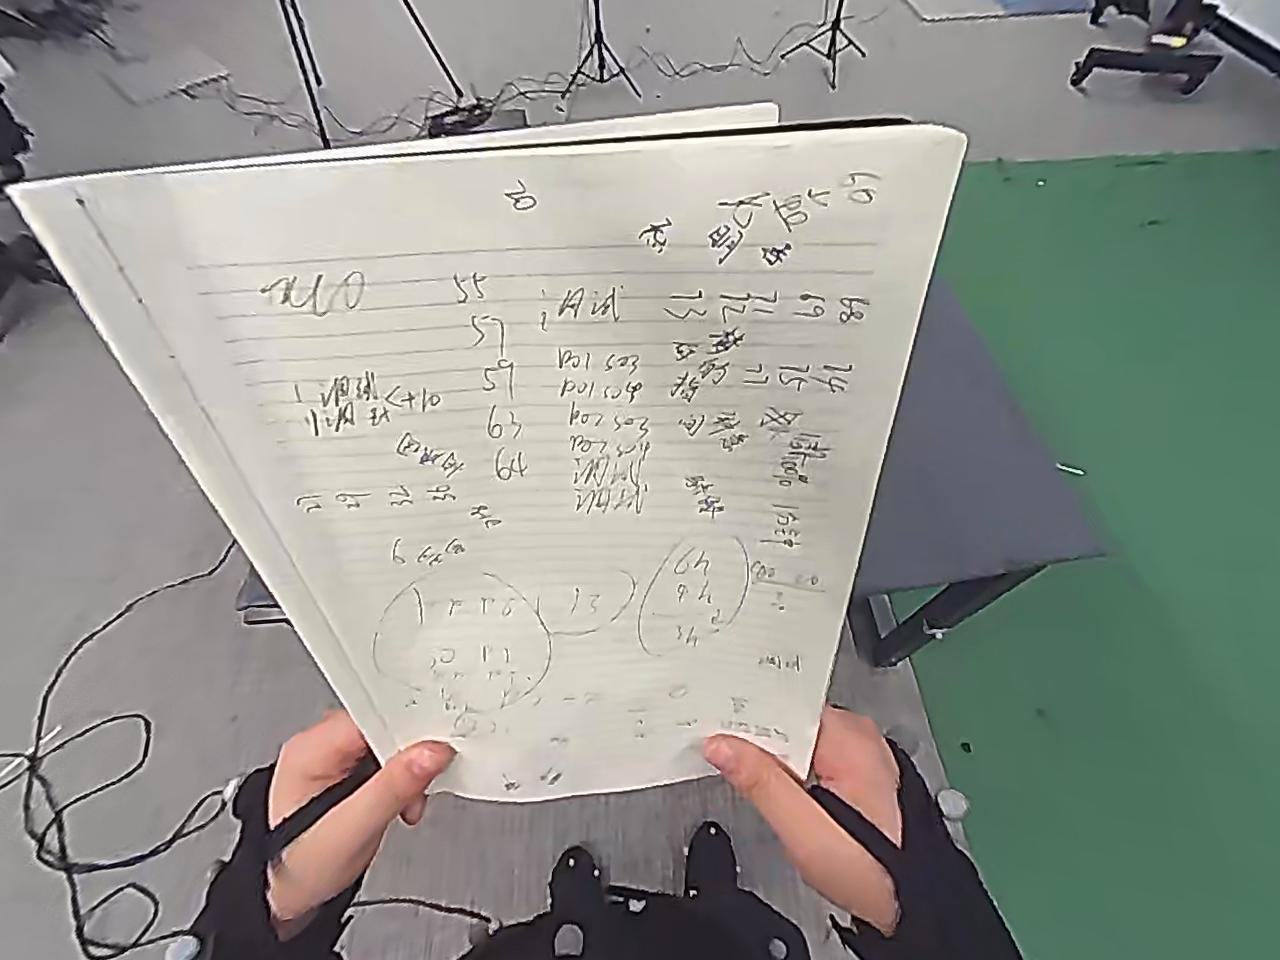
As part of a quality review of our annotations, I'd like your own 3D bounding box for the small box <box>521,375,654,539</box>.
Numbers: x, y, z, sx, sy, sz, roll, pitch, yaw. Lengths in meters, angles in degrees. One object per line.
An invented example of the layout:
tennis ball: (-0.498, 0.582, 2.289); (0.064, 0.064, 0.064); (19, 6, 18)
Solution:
small box: (-0.065, -0.029, 0.781); (0.168, 0.176, 0.179); (-2, 57, 2)
